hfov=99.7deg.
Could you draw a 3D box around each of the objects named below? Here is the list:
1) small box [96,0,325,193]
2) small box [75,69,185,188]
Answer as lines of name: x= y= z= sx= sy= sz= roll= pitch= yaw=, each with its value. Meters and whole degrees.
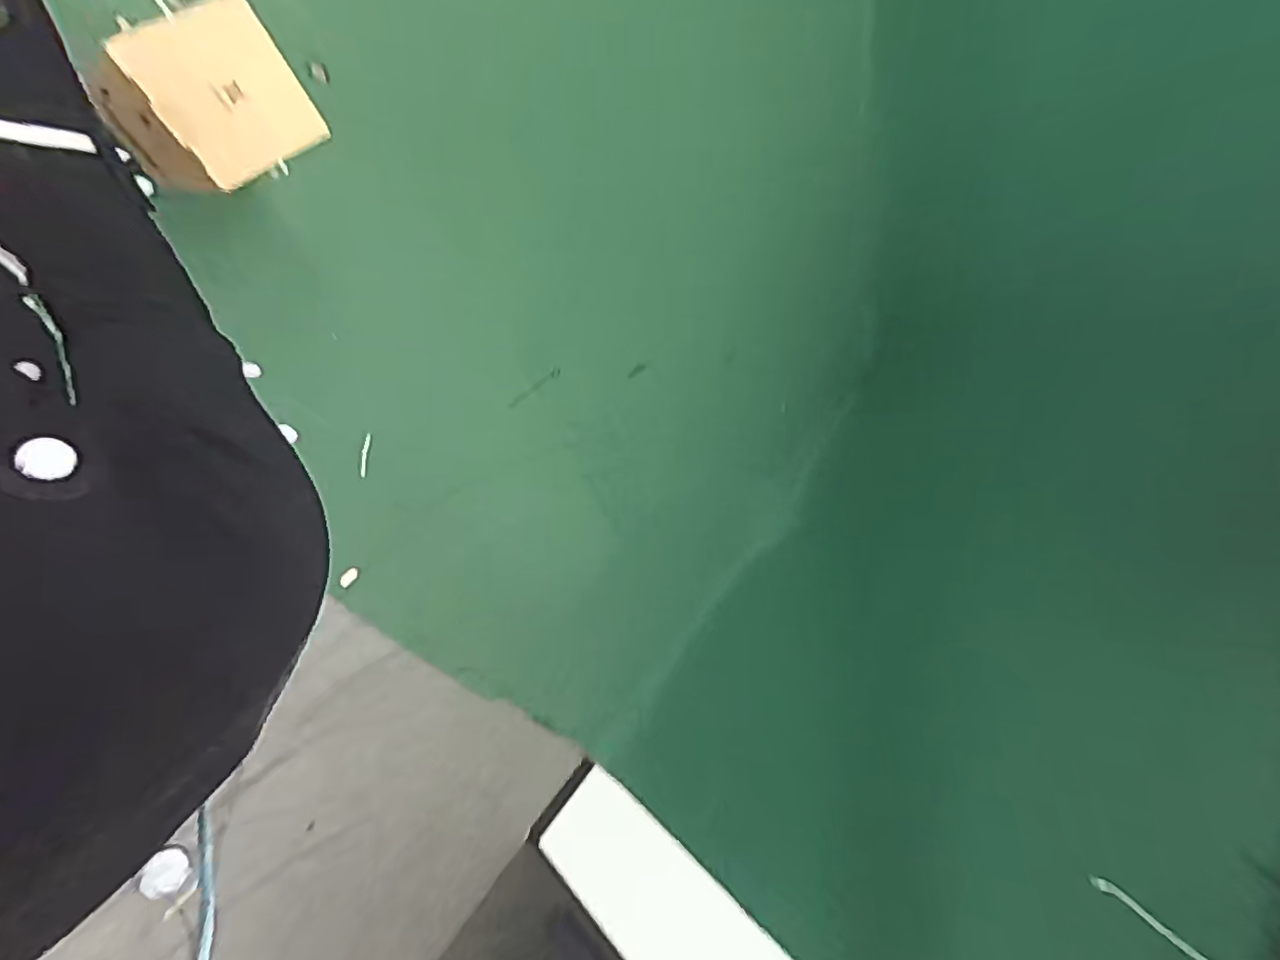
small box: x=-0.594 y=-0.526 z=0.751 sx=0.179 sy=0.176 sz=0.168 roll=-48 pitch=139 yaw=-20
small box: x=-0.829 y=-0.635 z=0.952 sx=0.179 sy=0.176 sz=0.168 roll=-46 pitch=139 yaw=-22
